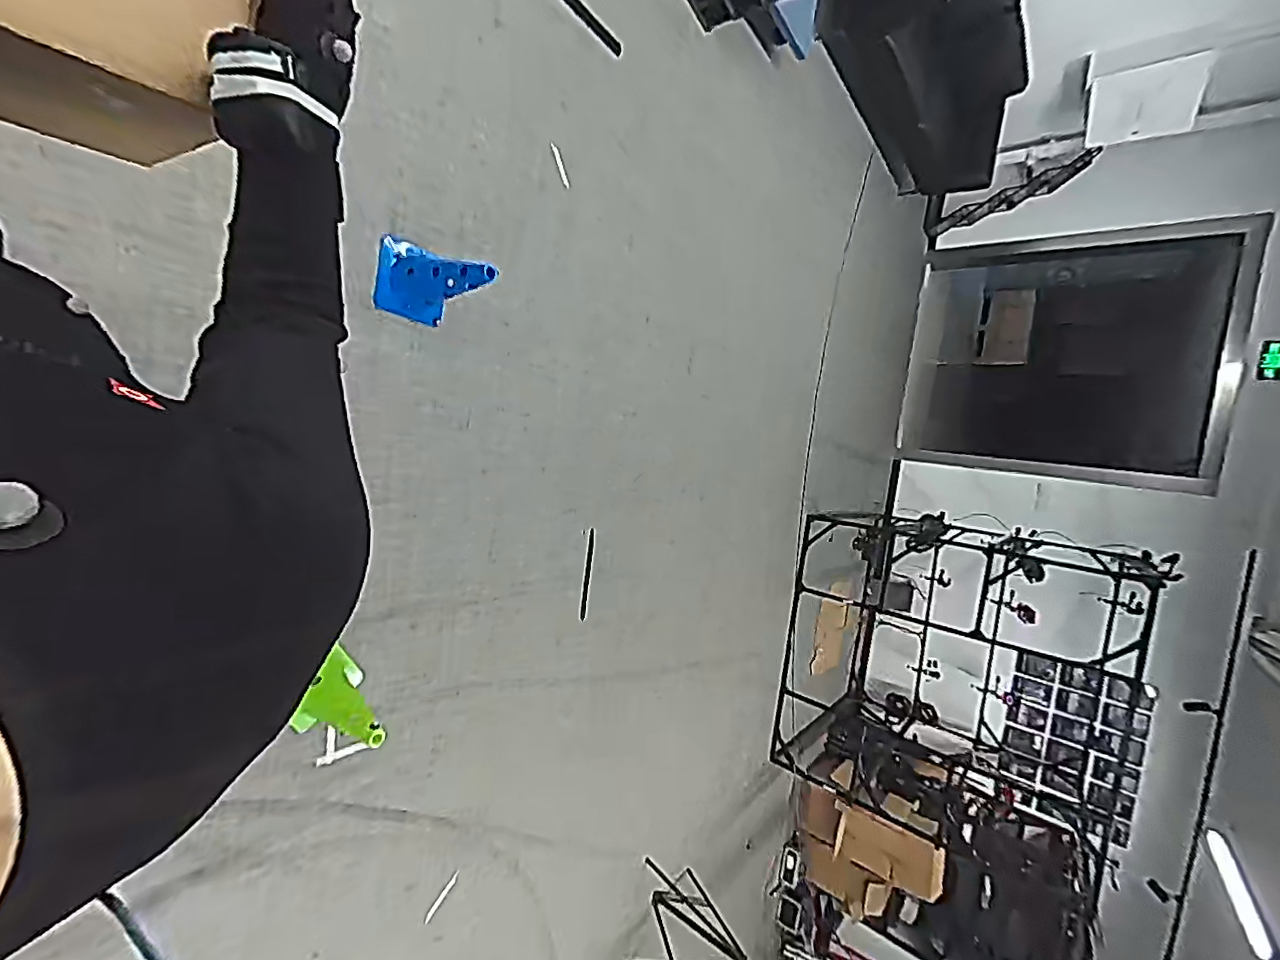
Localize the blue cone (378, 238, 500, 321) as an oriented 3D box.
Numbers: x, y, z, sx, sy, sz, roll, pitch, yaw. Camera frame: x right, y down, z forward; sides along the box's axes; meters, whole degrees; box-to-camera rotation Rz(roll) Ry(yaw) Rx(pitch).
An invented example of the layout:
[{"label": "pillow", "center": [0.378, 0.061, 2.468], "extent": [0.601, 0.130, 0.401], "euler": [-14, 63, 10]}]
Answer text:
[{"label": "blue cone", "center": [-0.509, -0.536, 1.424], "extent": [0.192, 0.380, 0.193], "euler": [9, 91, -54]}]

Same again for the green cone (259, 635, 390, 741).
[{"label": "green cone", "center": [-0.745, 0.569, 1.356], "extent": [0.202, 0.368, 0.200], "euler": [-47, 133, -38]}]

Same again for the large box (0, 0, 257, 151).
[{"label": "large box", "center": [-0.507, -0.451, 0.310], "extent": [0.408, 0.320, 0.320], "euler": [-5, 108, -54]}]
